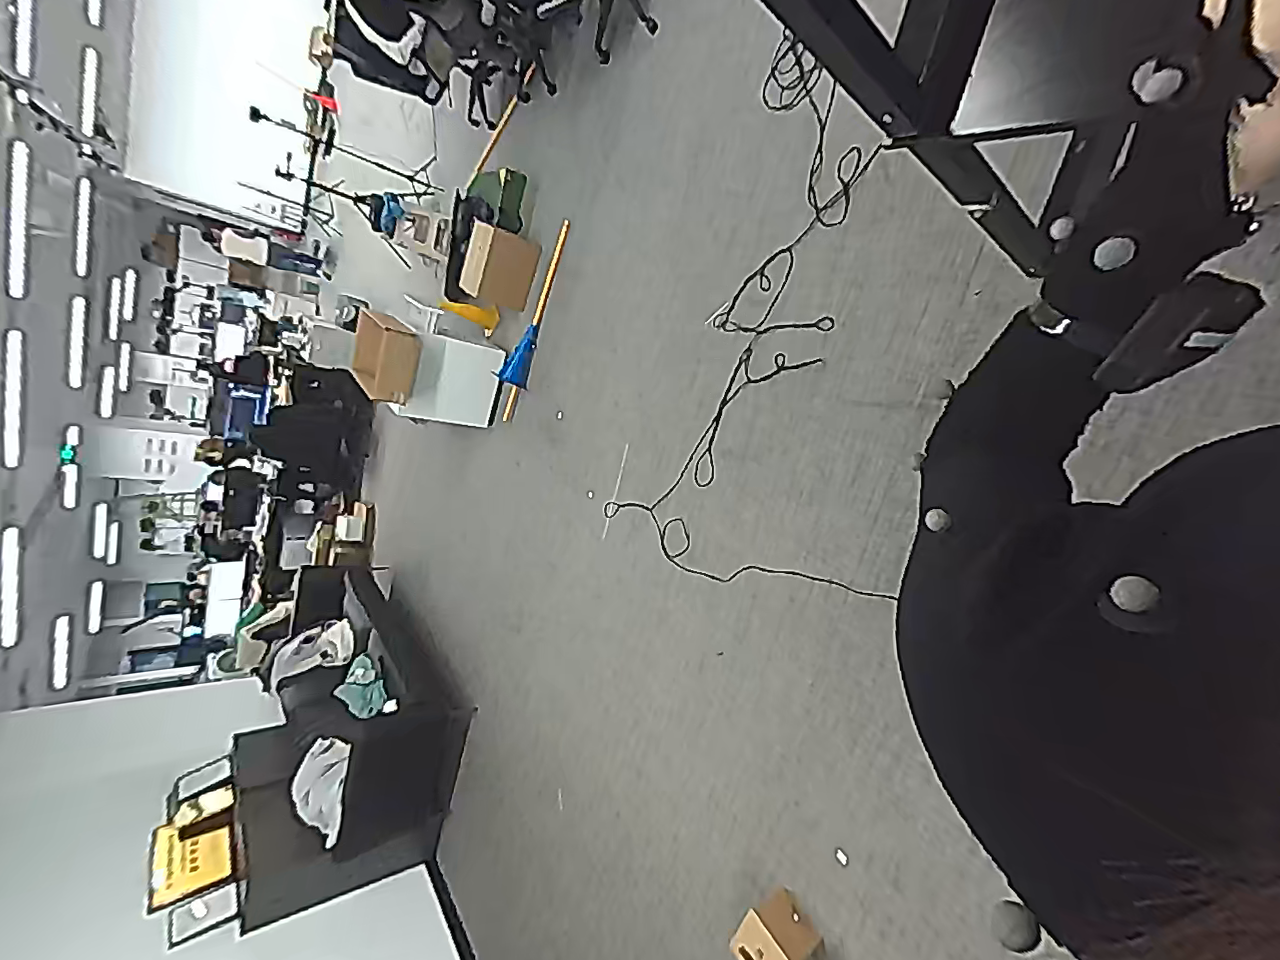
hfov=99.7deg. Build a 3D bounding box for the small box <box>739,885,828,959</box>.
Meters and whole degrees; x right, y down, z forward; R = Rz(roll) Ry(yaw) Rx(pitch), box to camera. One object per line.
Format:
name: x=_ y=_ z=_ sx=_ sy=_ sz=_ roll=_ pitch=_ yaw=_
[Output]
small box: x=0.440 y=1.393 z=1.642 sx=0.168 sy=0.176 sz=0.179 roll=37 pitch=113 yaw=44
